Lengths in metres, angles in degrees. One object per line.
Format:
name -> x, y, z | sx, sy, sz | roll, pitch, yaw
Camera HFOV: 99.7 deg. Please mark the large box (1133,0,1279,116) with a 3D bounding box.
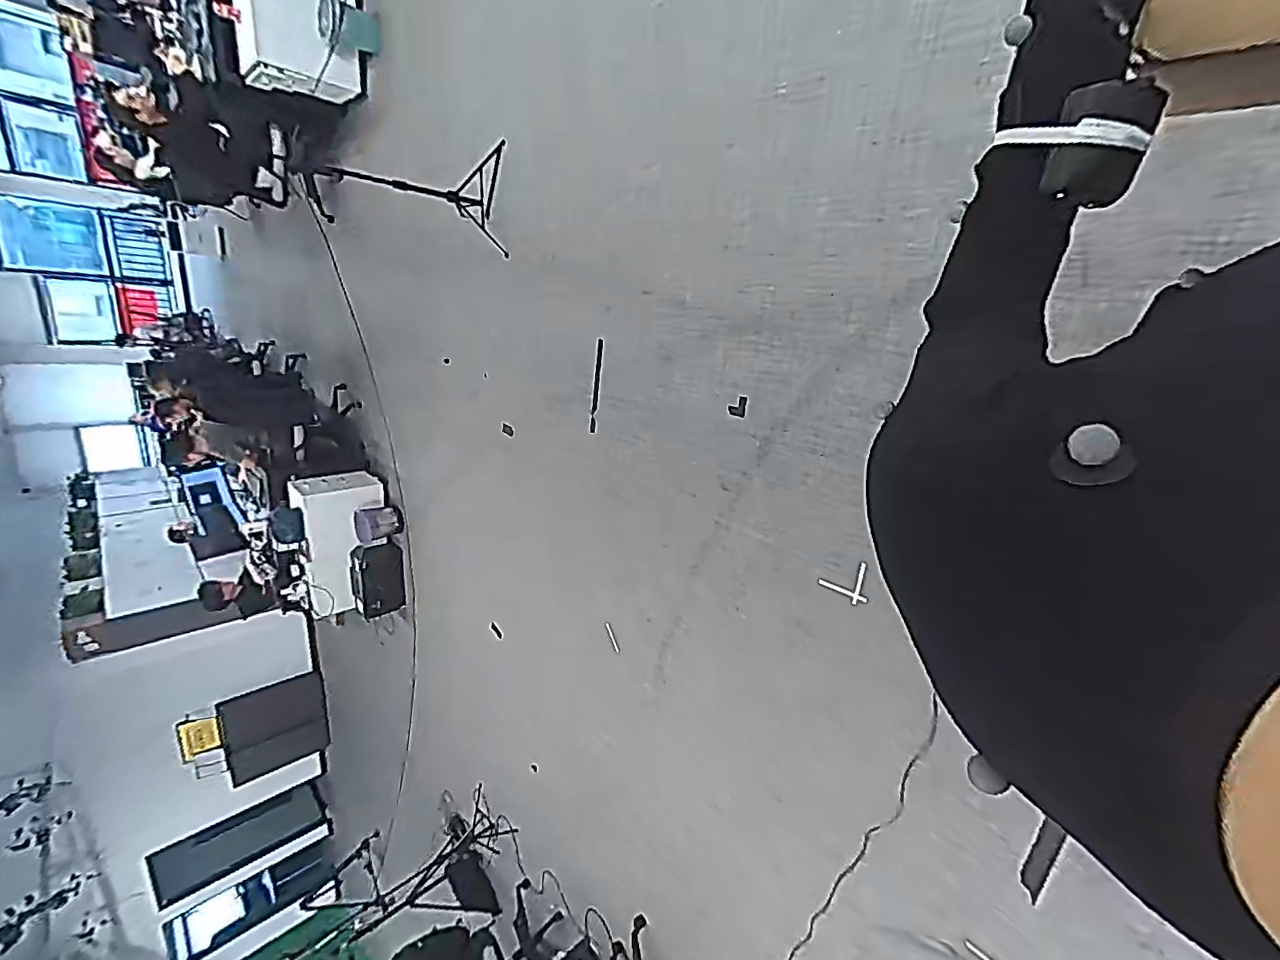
large box -> 0.561, -0.411, 0.268 | 0.408, 0.320, 0.320 | 20, 124, 39
